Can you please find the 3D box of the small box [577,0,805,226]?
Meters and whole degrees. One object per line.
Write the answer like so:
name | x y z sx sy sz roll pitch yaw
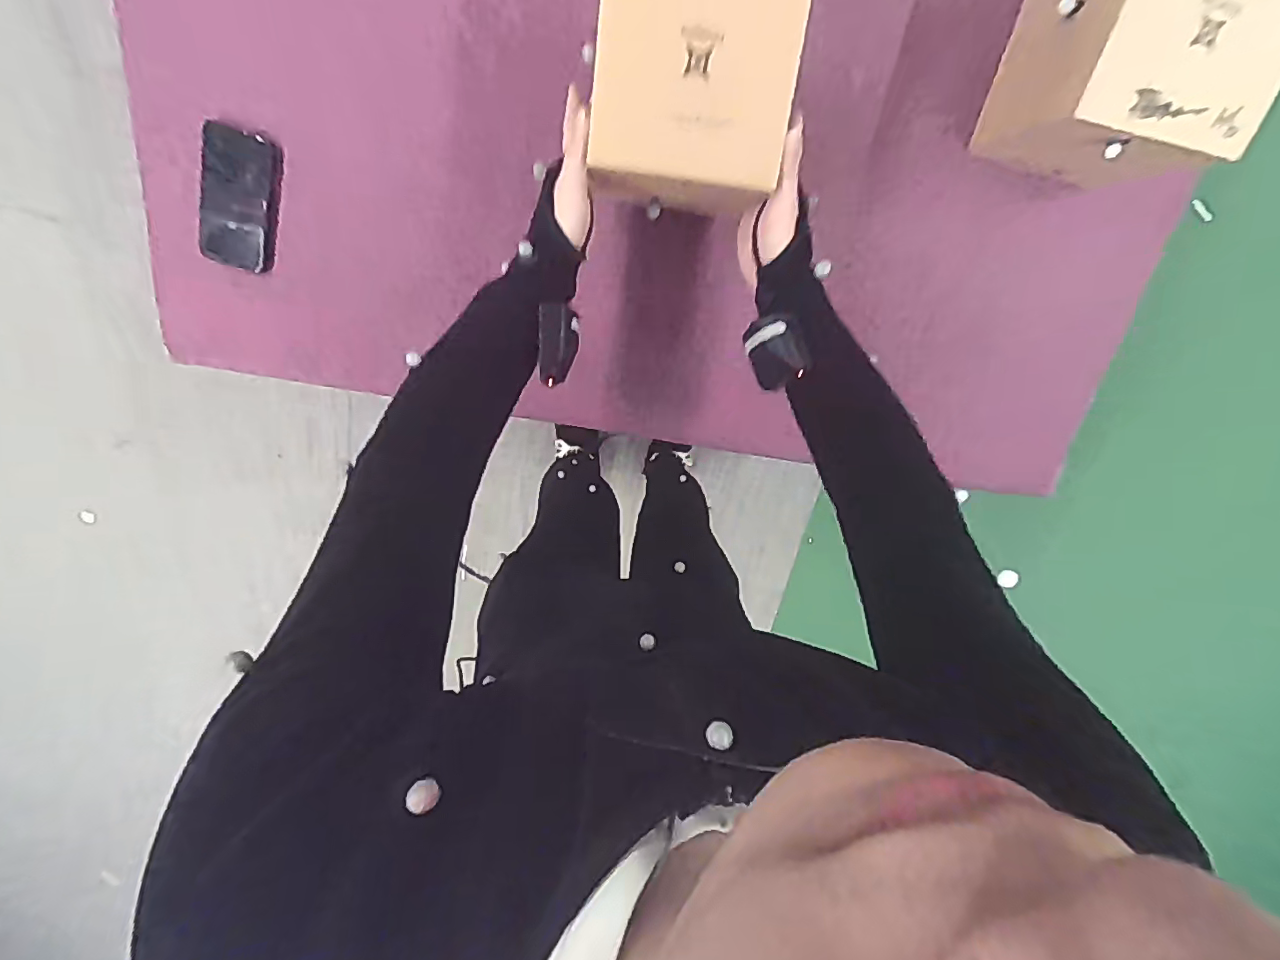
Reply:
small box | 0.037 -0.353 0.504 0.168 0.176 0.179 7 108 -3

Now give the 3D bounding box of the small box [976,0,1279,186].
small box | 0.466 -0.405 0.515 0.168 0.176 0.179 12 110 -4
